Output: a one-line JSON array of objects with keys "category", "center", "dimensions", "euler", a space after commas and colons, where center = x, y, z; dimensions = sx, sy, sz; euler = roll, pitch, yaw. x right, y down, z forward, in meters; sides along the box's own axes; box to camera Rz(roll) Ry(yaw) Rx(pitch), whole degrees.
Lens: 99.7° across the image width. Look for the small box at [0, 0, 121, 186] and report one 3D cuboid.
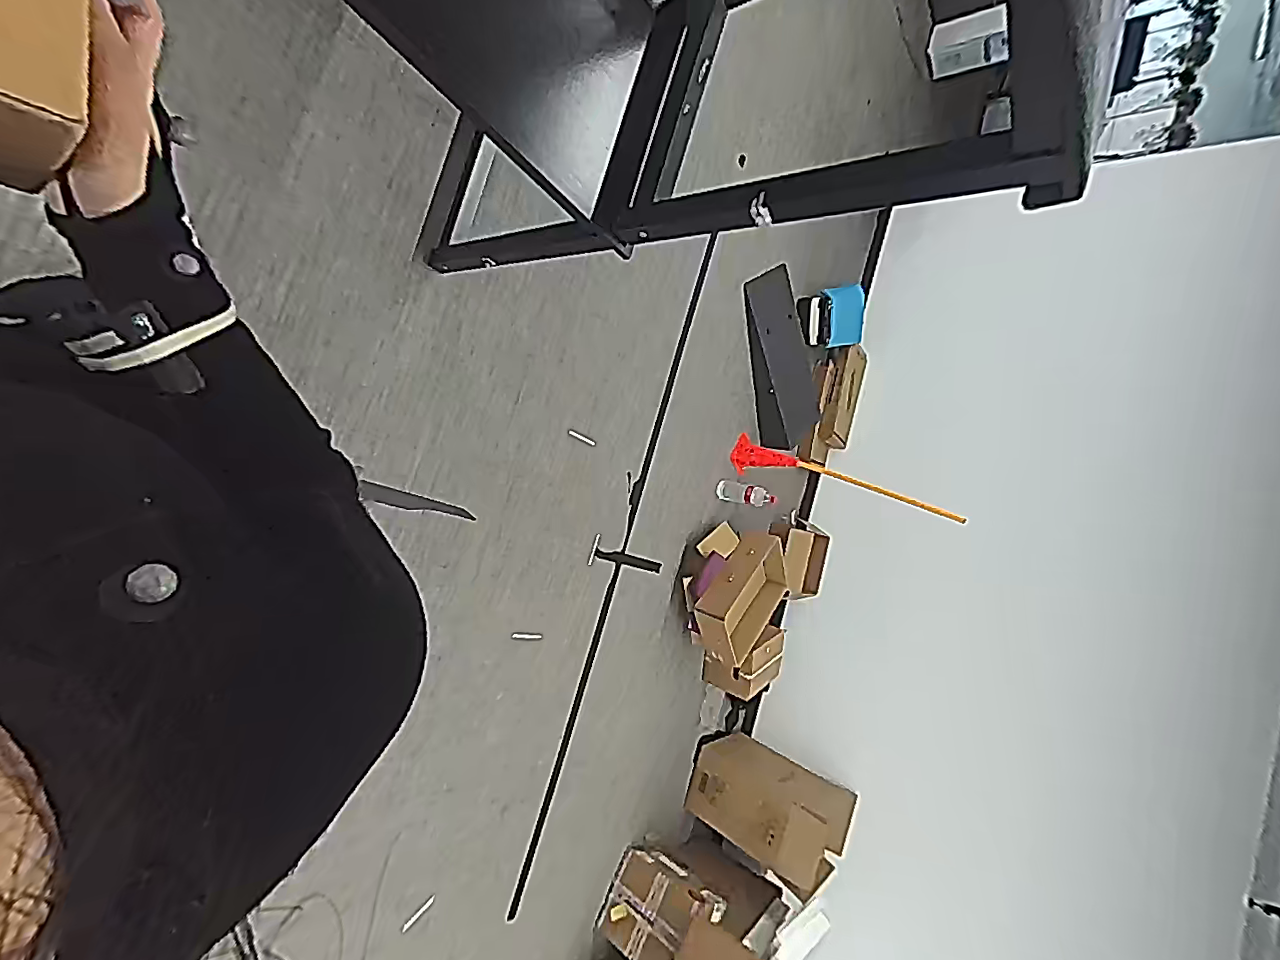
[{"category": "small box", "center": [-0.323, -0.244, 0.204], "dimensions": [0.168, 0.176, 0.179], "euler": [1, 99, -52]}]
